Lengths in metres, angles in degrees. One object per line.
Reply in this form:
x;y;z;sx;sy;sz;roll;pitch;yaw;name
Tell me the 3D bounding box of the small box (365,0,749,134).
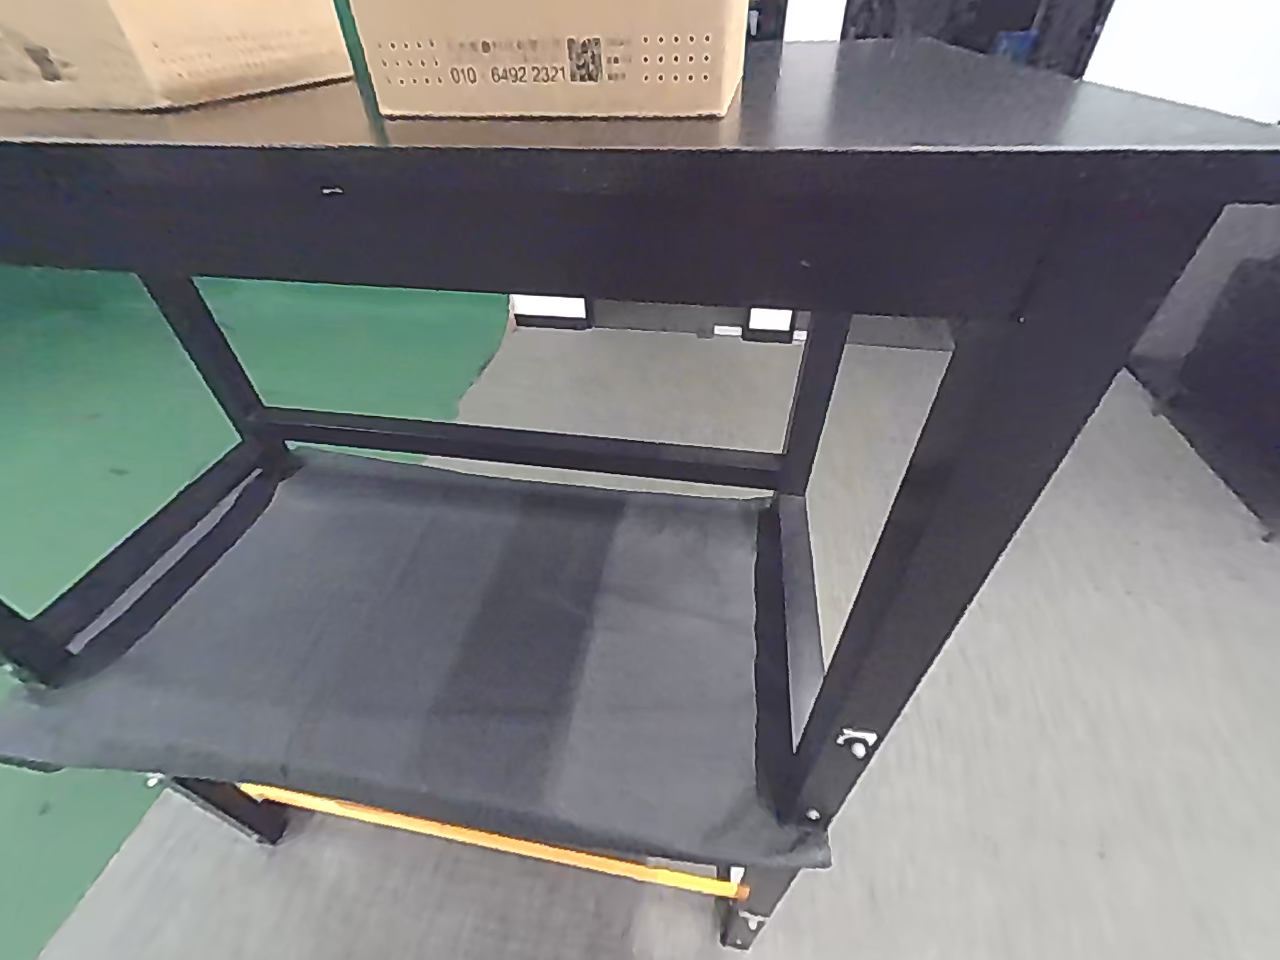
-0.030;-0.278;0.261;0.168;0.176;0.179;6;42;8;small box
